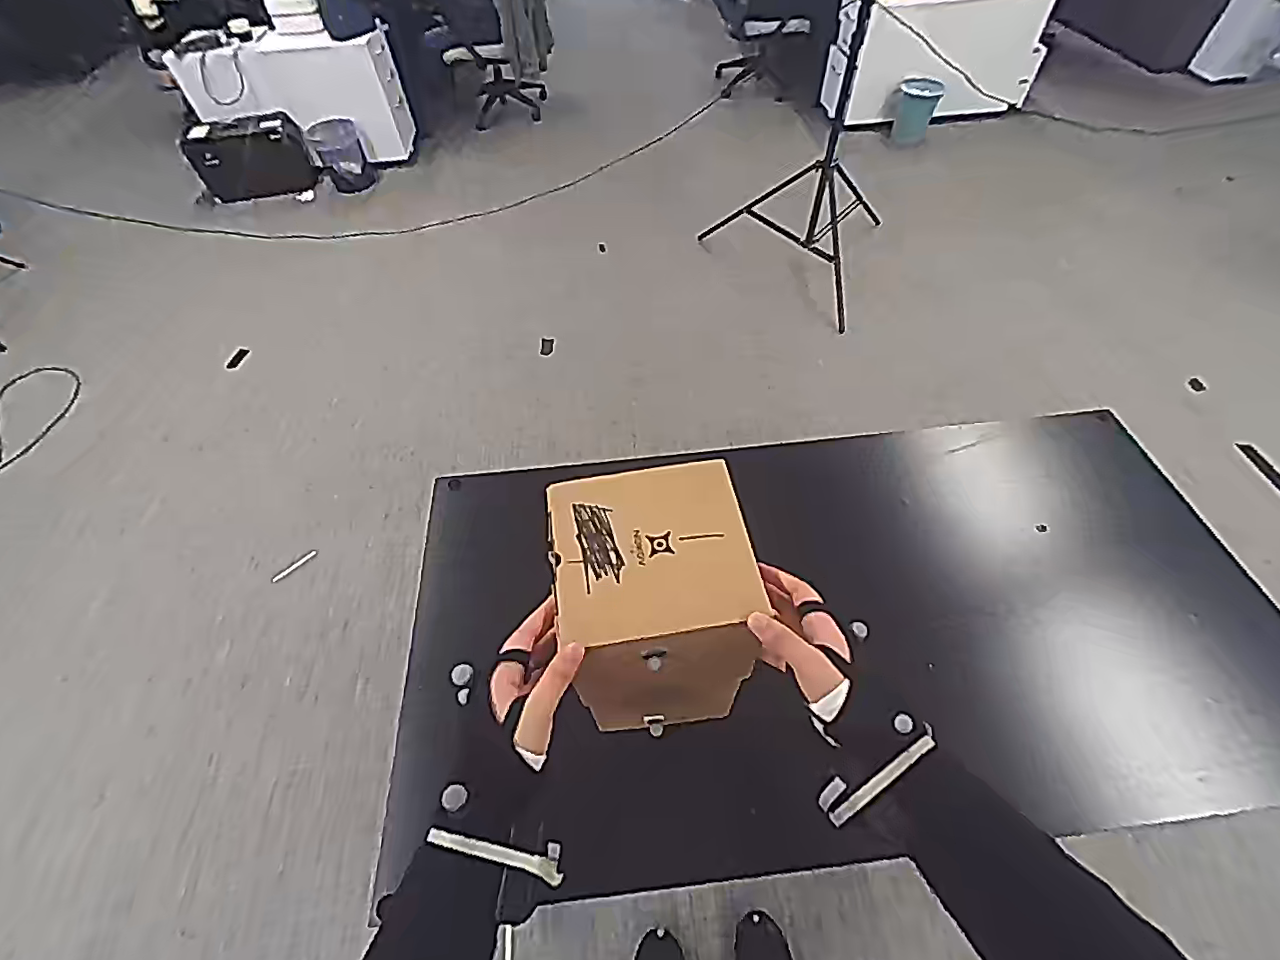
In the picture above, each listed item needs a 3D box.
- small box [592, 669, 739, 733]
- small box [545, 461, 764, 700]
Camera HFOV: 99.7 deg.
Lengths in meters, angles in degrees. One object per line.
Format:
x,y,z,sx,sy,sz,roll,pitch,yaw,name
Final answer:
0.018,0.198,0.680,0.168,0.176,0.179,-8,54,-2,small box
0.010,0.106,0.543,0.179,0.176,0.168,-9,54,-4,small box
